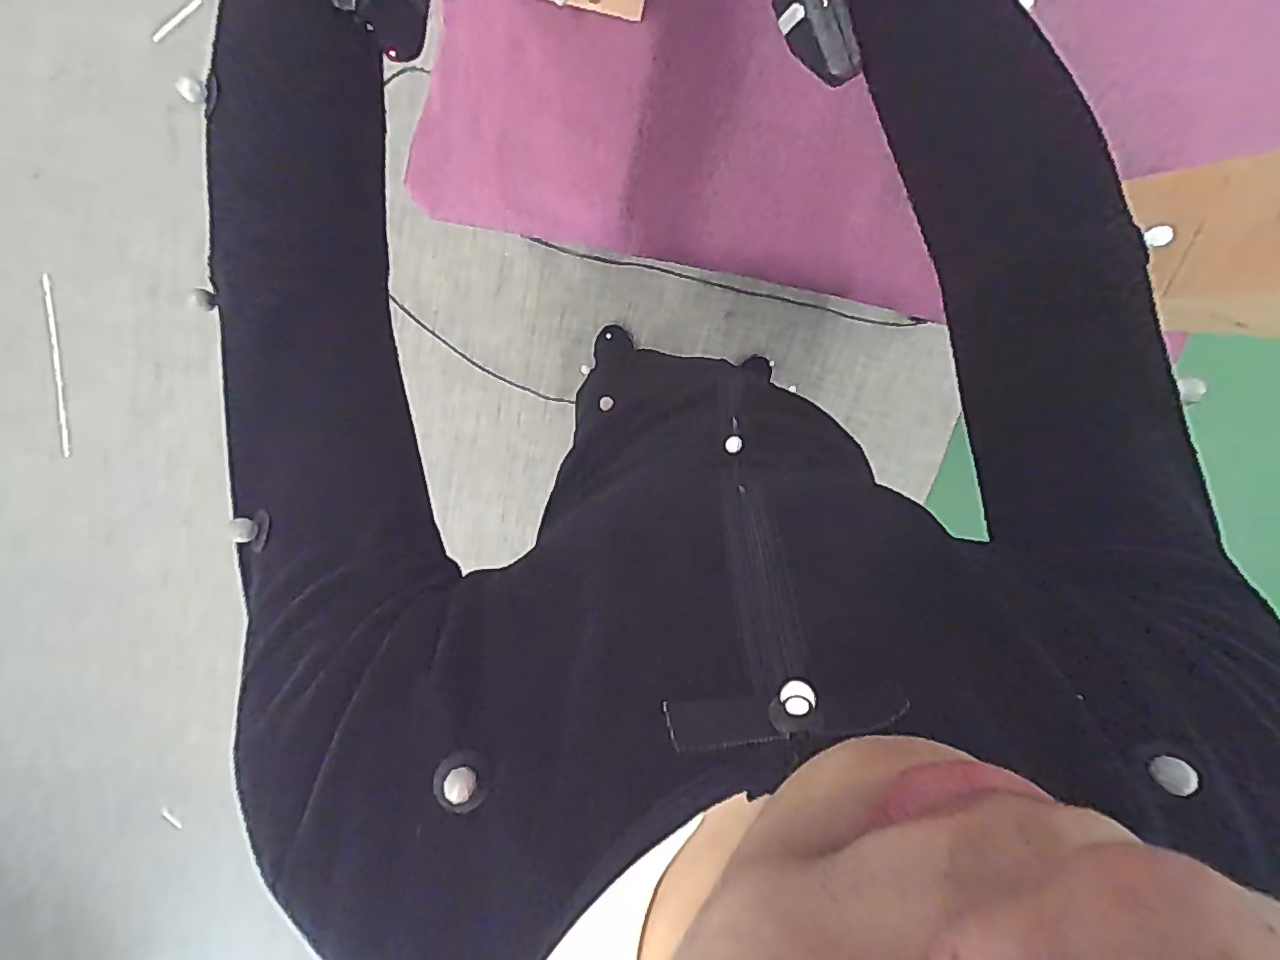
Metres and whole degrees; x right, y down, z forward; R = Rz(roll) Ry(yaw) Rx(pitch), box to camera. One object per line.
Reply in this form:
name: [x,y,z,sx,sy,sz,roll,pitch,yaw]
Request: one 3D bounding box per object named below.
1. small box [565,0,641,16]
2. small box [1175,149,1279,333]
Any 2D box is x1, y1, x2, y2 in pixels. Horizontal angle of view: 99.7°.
small box: [-0.060,-0.657,0.579,0.168,0.176,0.179,7,108,-7]
small box: [0.784,-0.273,0.612,0.168,0.176,0.179,14,105,-8]
